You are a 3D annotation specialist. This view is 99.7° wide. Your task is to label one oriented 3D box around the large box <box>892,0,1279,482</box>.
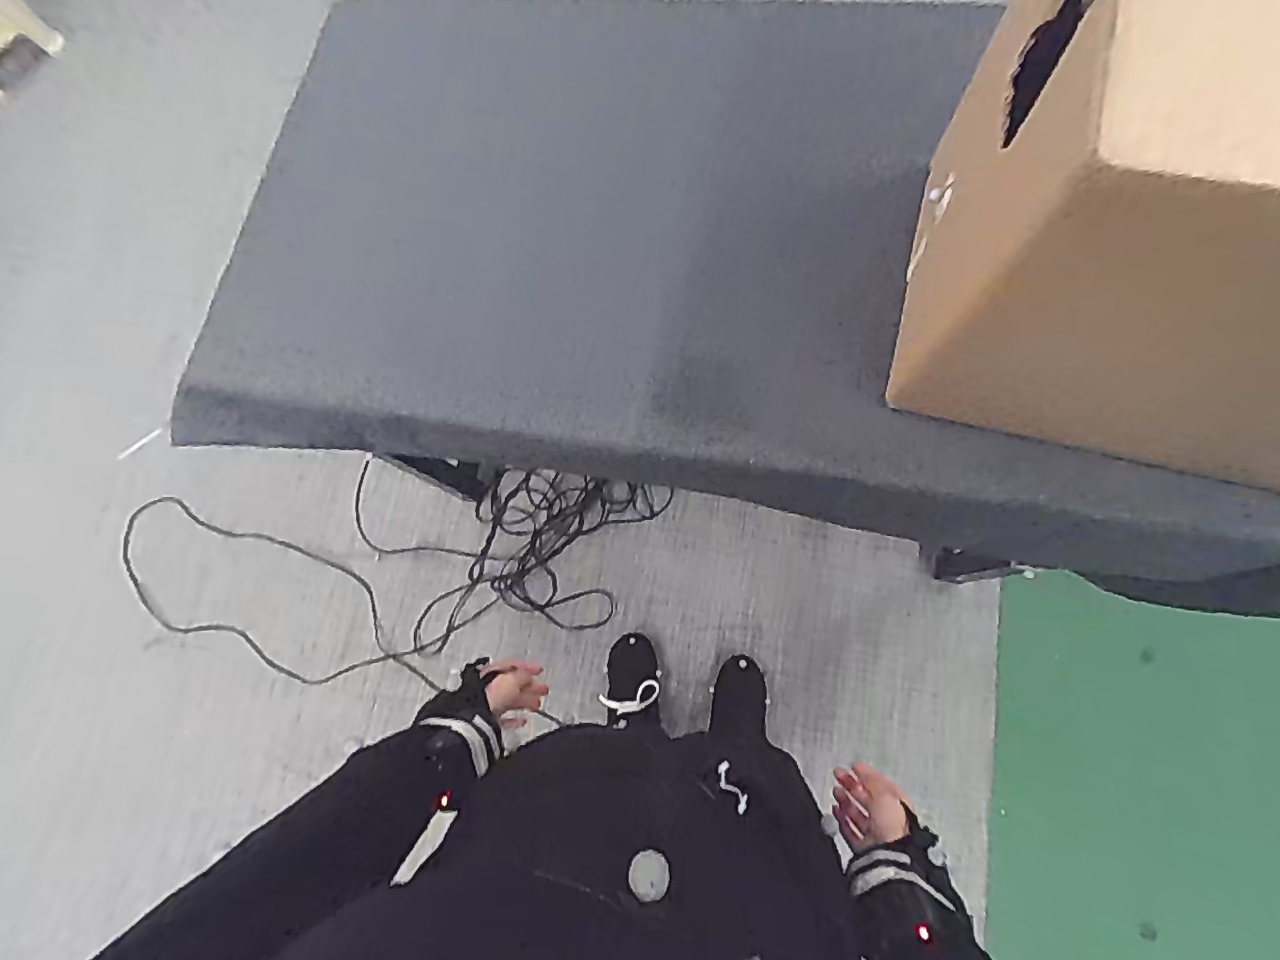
[{"bbox_3d":[0.466,-0.212,0.414,0.408,0.320,0.320,14,78,9],"label":"large box"}]
